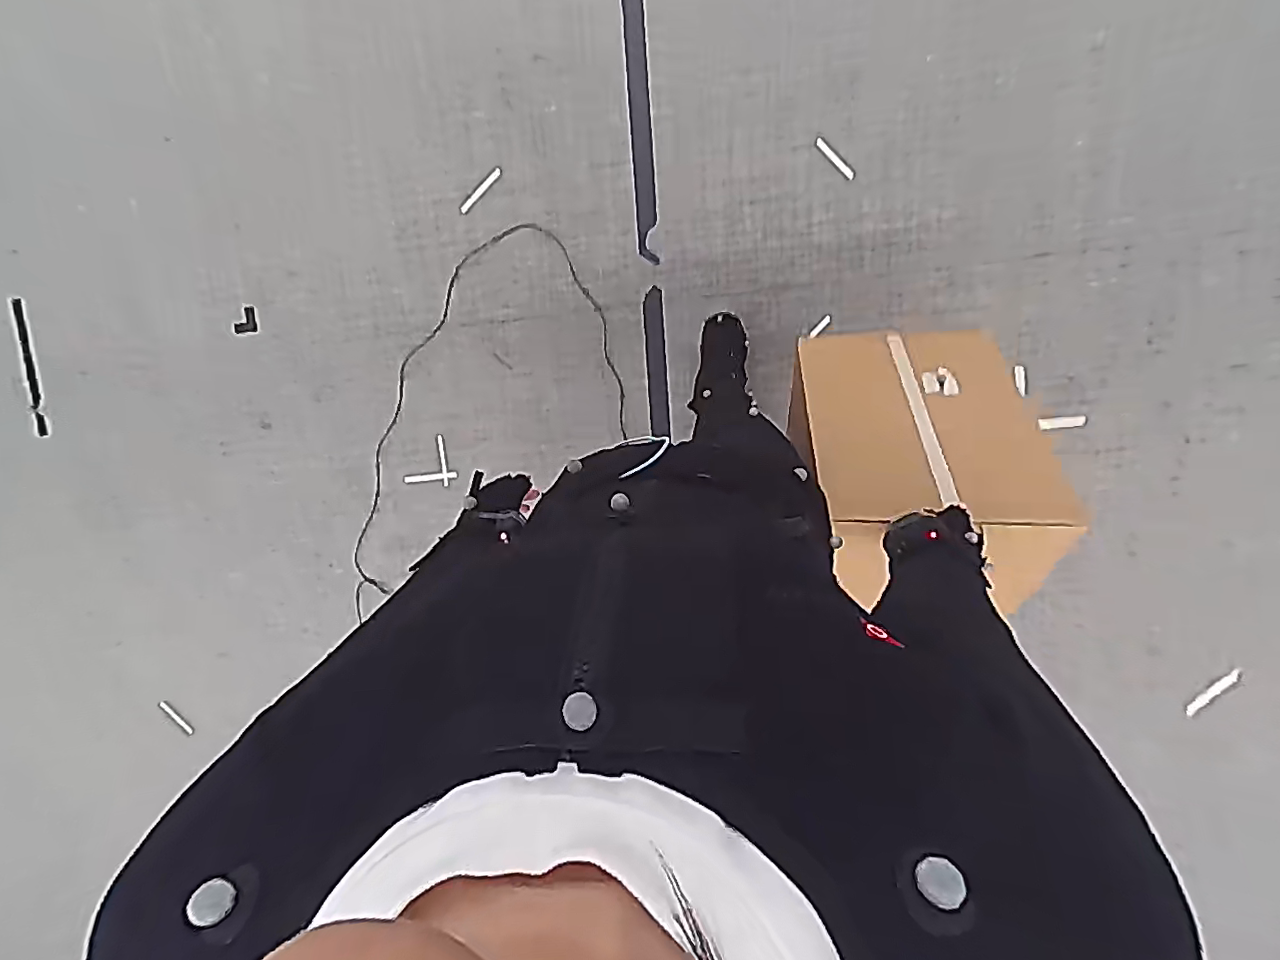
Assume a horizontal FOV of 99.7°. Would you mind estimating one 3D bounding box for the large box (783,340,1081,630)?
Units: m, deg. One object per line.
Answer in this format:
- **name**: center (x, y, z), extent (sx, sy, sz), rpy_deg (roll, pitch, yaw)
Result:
- **large box**: center (0.431, 0.007, 0.929), extent (0.320, 0.408, 0.320), rpy_deg (1, 137, 7)
